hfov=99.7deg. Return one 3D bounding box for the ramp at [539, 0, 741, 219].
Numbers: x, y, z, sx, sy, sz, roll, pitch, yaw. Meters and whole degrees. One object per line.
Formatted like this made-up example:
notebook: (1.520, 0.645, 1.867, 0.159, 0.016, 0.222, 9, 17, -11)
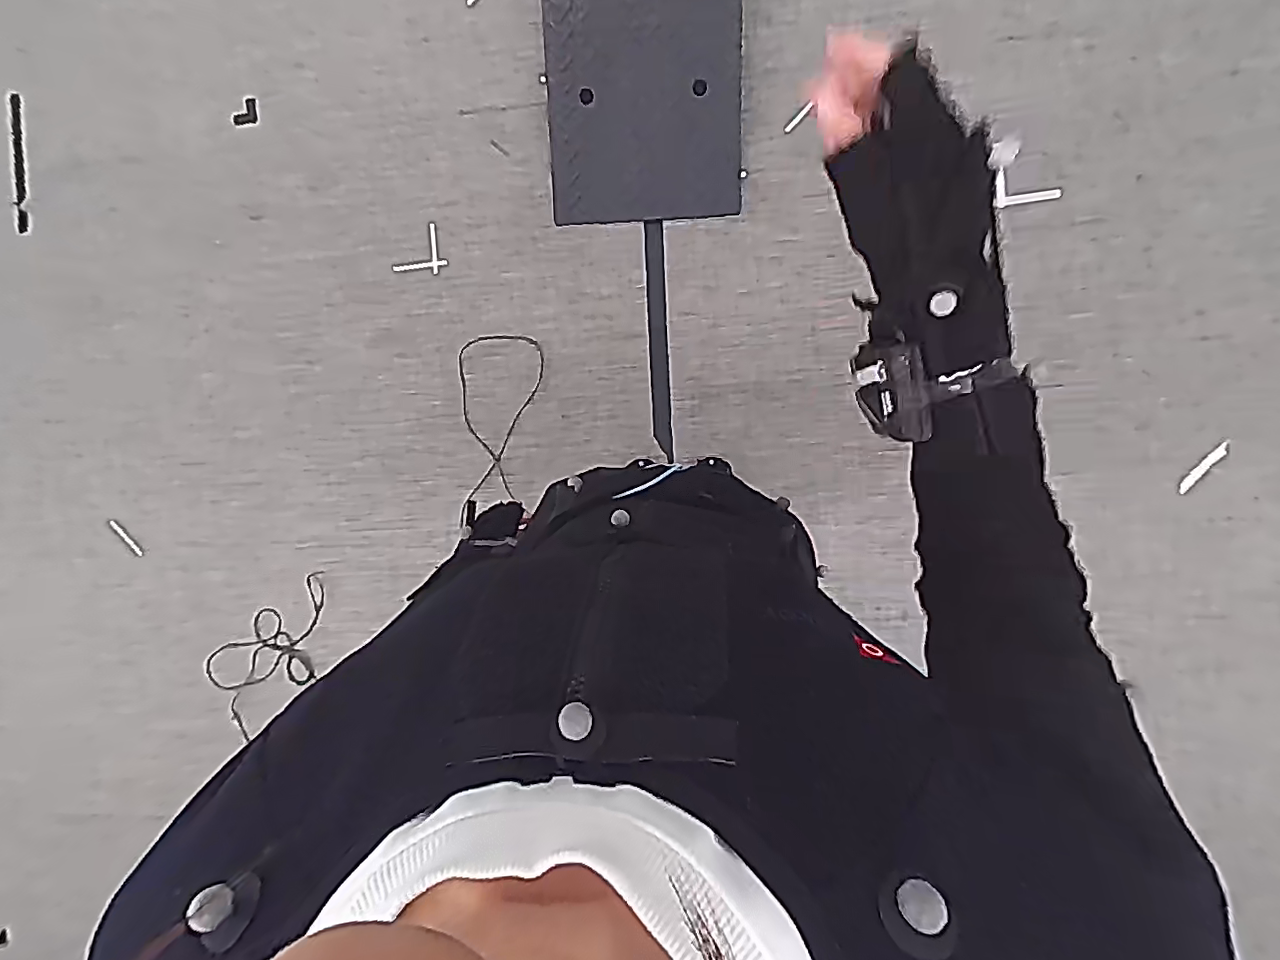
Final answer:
ramp: (-0.003, -1.182, 1.304, 0.509, 0.206, 0.991, -3, 93, 5)
